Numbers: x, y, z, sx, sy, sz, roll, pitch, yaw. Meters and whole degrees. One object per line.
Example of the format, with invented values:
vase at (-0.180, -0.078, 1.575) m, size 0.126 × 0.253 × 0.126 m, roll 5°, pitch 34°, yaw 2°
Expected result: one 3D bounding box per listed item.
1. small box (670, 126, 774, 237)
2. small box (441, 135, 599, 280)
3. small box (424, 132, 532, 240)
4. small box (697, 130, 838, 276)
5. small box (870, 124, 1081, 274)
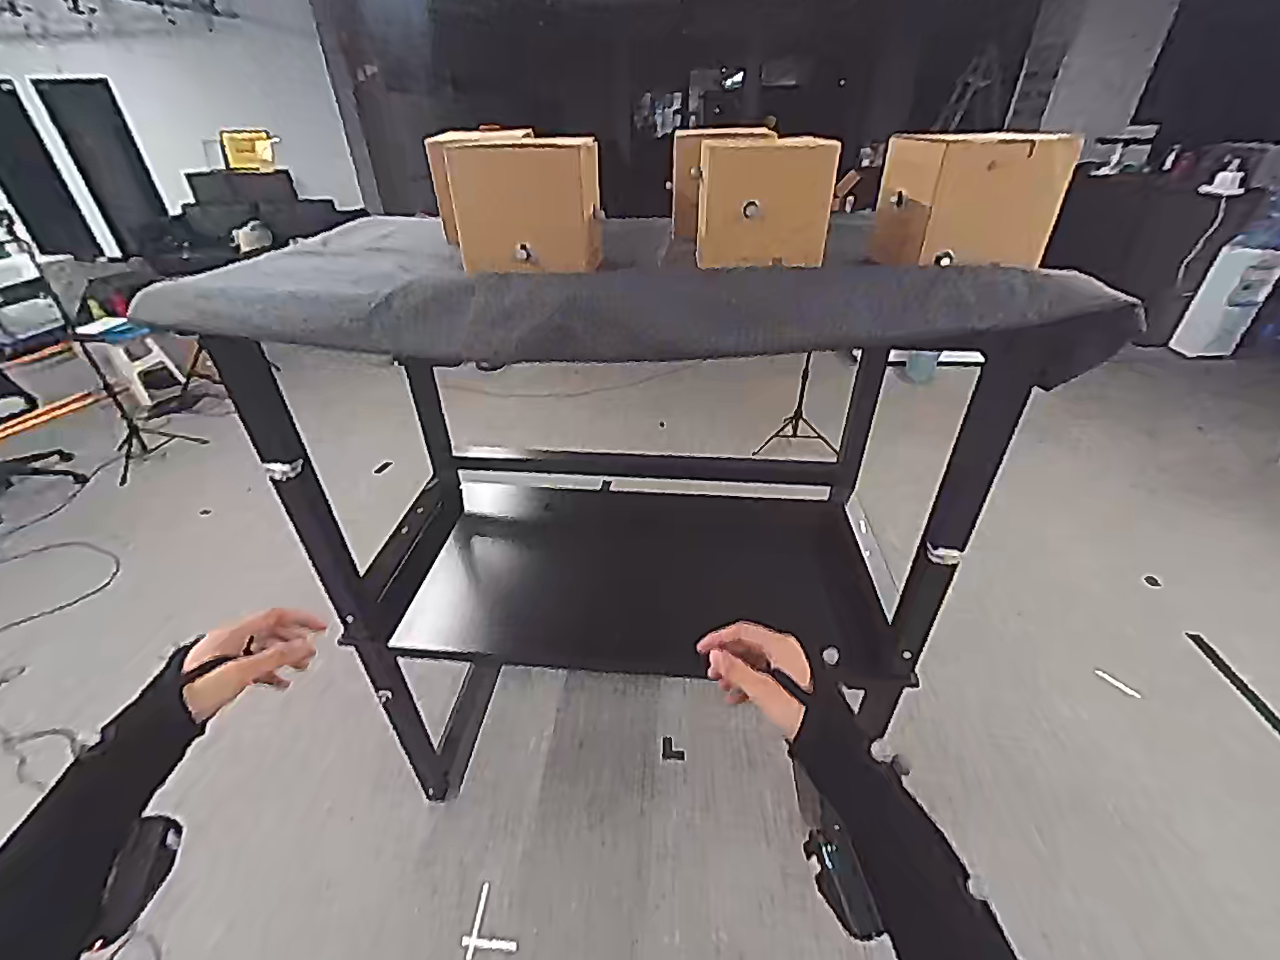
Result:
small box at (0.147, -0.559, 1.014) m, size 0.179 × 0.176 × 0.168 m, roll 2°, pitch 35°, yaw 4°
small box at (-0.155, -0.389, 0.773) m, size 0.179 × 0.176 × 0.168 m, roll 2°, pitch 33°, yaw 3°
small box at (-0.286, -0.559, 1.028) m, size 0.168 × 0.176 × 0.179 m, roll -3°, pitch 34°, yaw -1°
small box at (0.169, -0.396, 0.777) m, size 0.168 × 0.176 × 0.179 m, roll 0°, pitch 33°, yaw 3°
small box at (0.443, -0.387, 0.749) m, size 0.168 × 0.176 × 0.179 m, roll -2°, pitch 33°, yaw 0°
